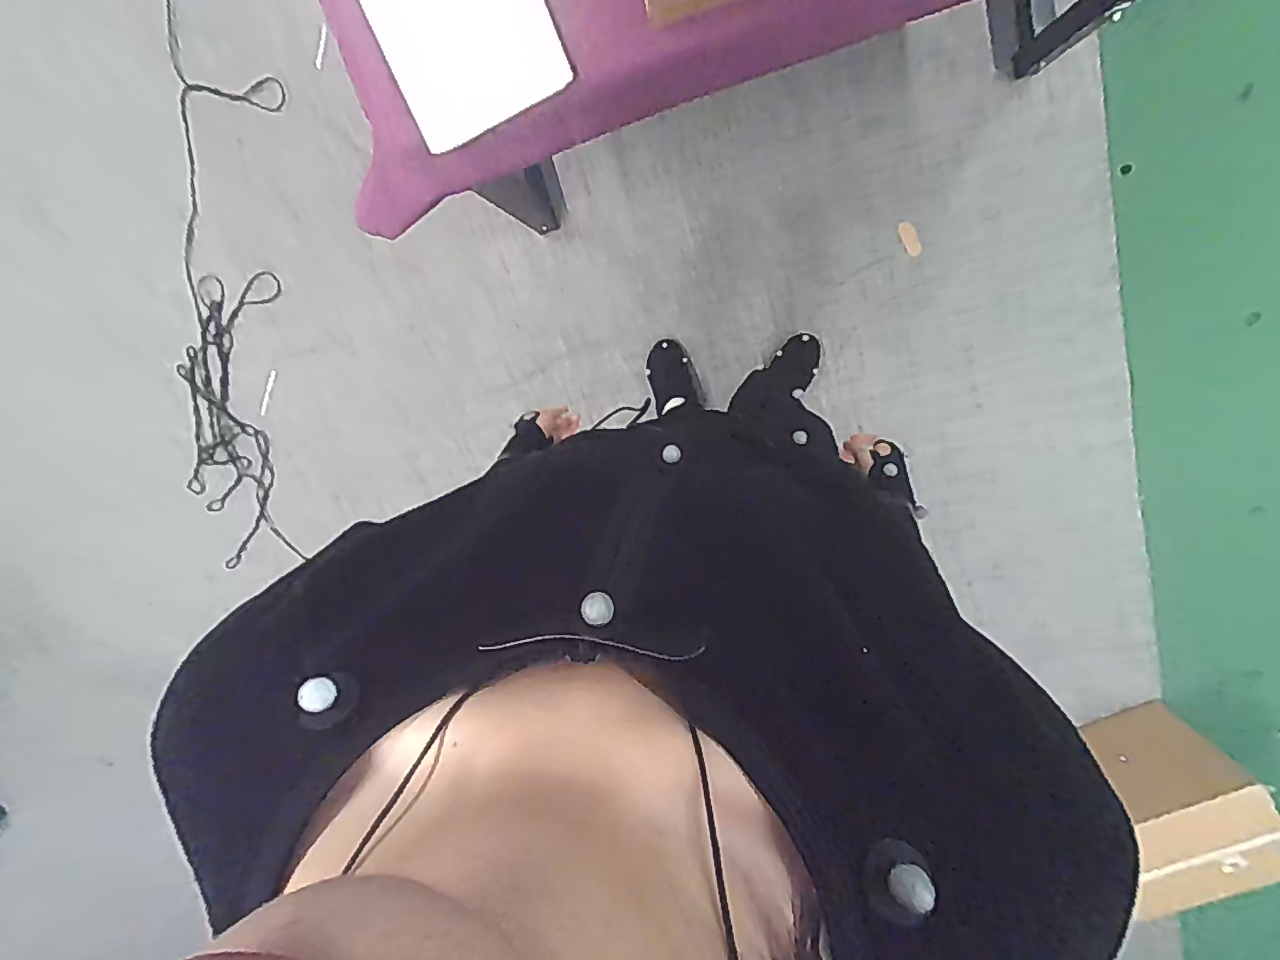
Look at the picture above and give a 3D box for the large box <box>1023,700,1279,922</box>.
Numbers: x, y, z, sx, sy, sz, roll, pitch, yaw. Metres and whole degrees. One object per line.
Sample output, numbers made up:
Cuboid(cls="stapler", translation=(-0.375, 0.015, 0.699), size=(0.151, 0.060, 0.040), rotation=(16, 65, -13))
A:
Cuboid(cls="large box", translation=(1.394, 0.894, 1.491), size=(0.408, 0.320, 0.320), rotation=(-30, 101, 11))
